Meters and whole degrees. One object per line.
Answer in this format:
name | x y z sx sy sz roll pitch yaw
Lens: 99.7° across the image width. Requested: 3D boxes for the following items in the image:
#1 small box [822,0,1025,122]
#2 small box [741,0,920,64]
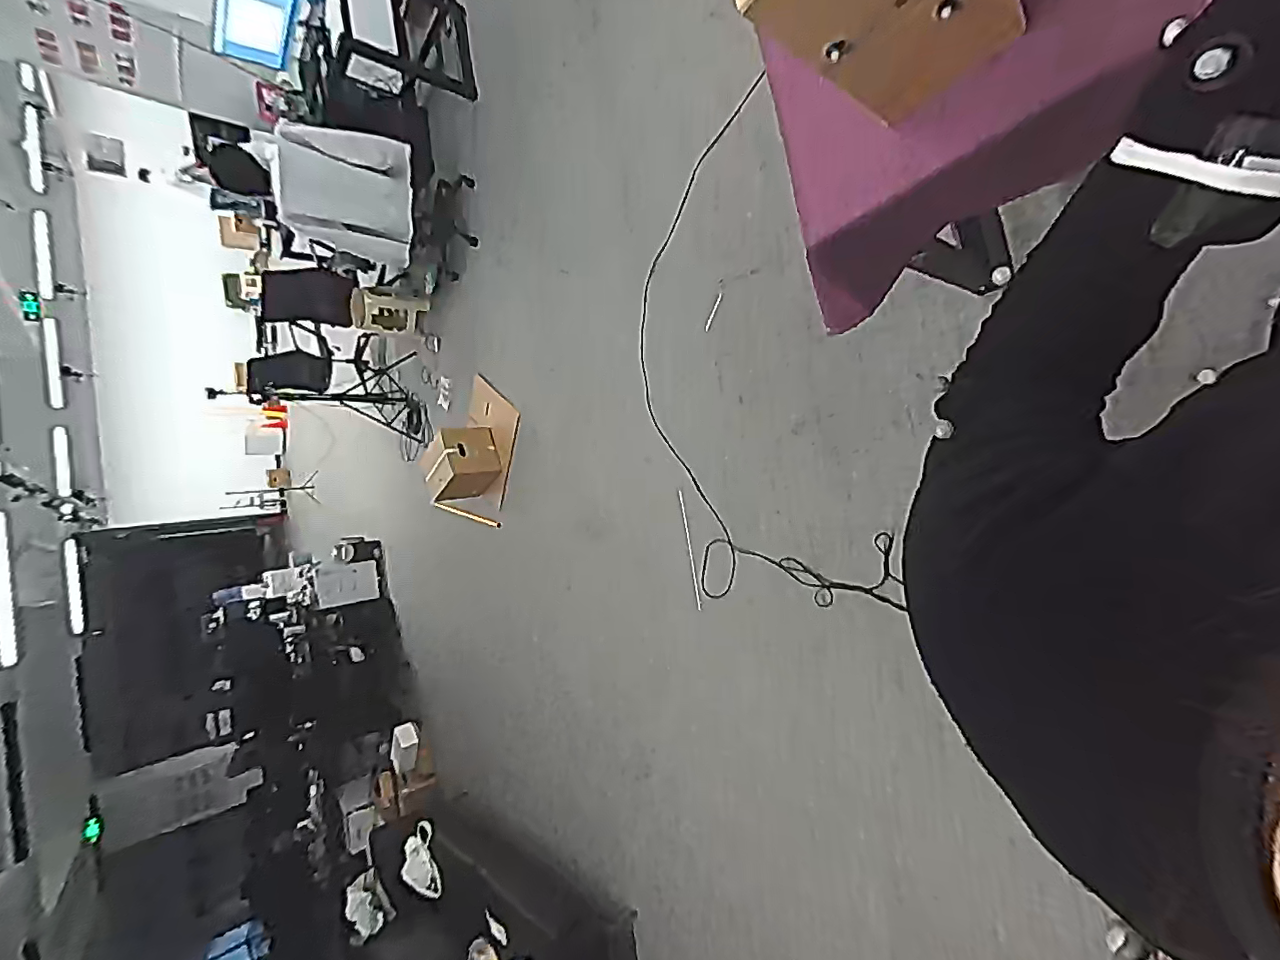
small box | 0.337 -0.594 0.669 0.179 0.176 0.168 -14 83 49
small box | 0.210 -0.586 0.565 0.168 0.176 0.179 -15 81 49
